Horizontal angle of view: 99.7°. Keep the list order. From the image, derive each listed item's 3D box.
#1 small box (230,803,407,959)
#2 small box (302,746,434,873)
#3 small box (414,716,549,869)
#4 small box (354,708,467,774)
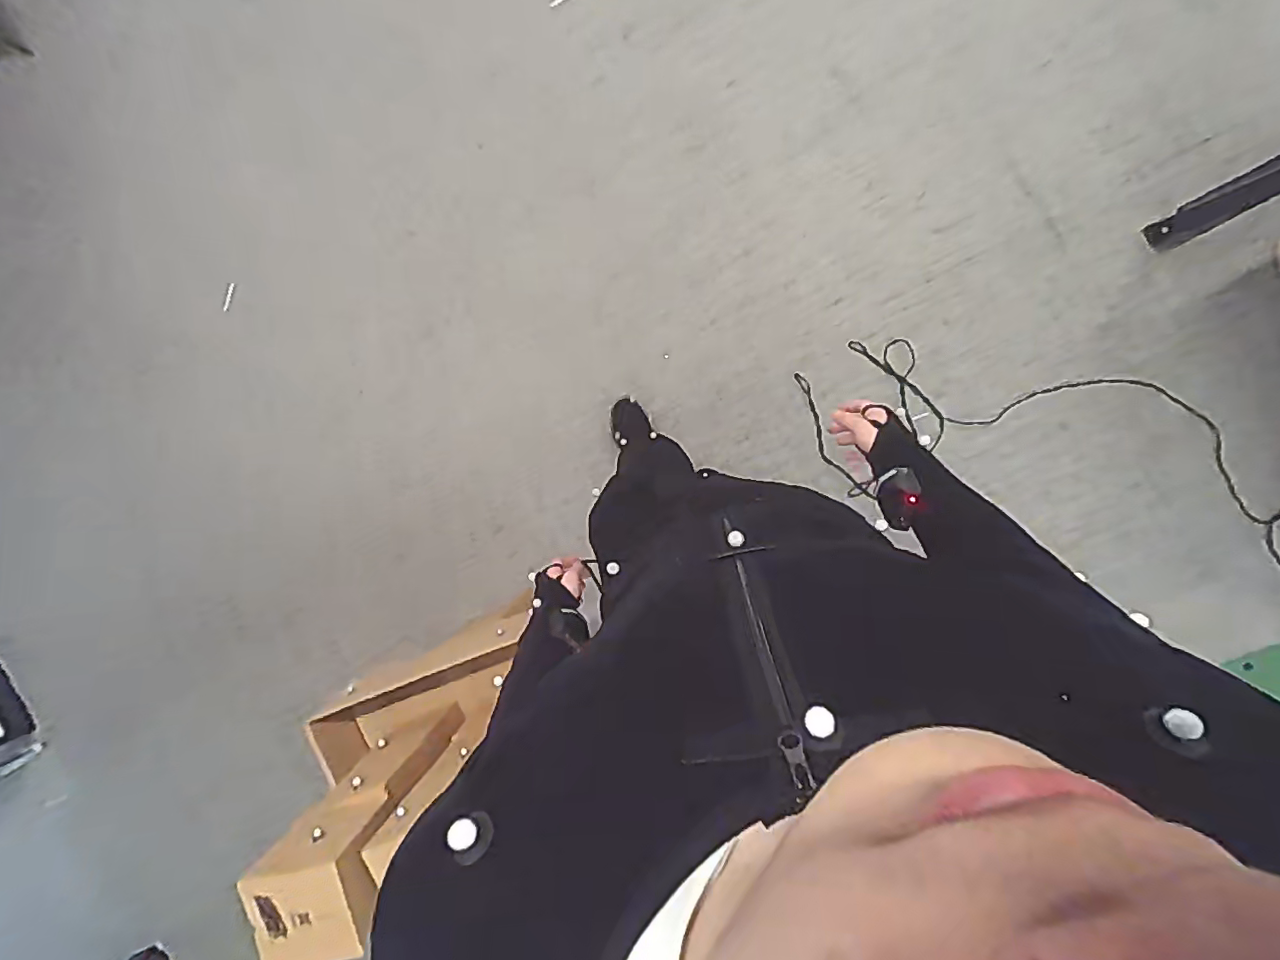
[{"bbox_3d":[-0.535,0.692,0.922,0.179,0.176,0.168,-15,93,5],"label":"small box"},{"bbox_3d":[-0.518,0.675,1.084,0.179,0.176,0.168,-24,91,5],"label":"small box"},{"bbox_3d":[-0.292,0.594,1.050,0.179,0.176,0.168,-26,91,8],"label":"small box"},{"bbox_3d":[-0.506,0.663,1.245,0.179,0.176,0.168,-24,92,6],"label":"small box"}]
